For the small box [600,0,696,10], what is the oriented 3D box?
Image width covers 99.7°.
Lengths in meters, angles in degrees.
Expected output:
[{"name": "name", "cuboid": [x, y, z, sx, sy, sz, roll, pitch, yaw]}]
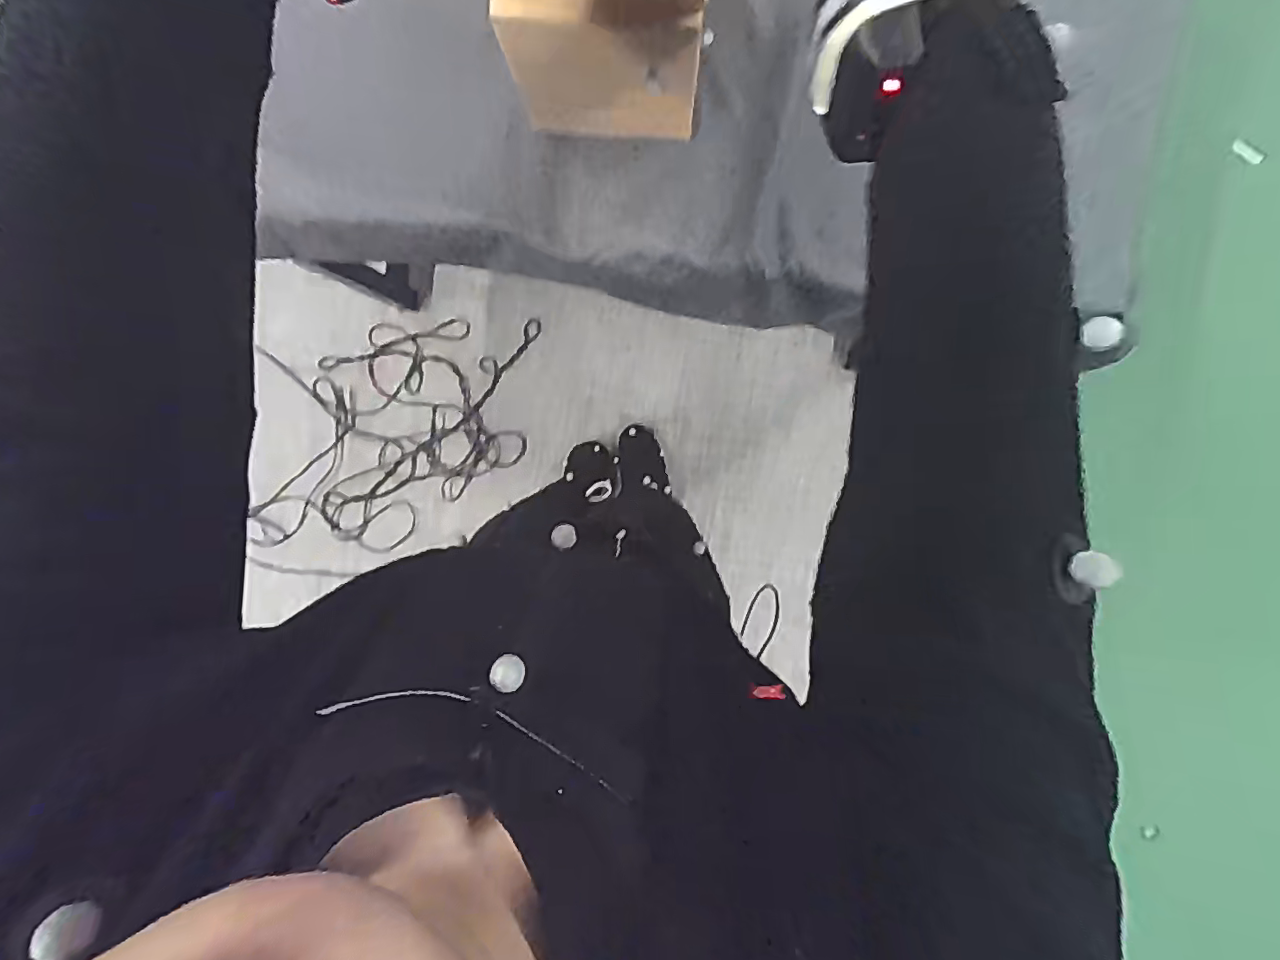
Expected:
[{"name": "small box", "cuboid": [-0.026, -0.458, 0.351, 0.179, 0.176, 0.168, 7, 94, 1]}]
